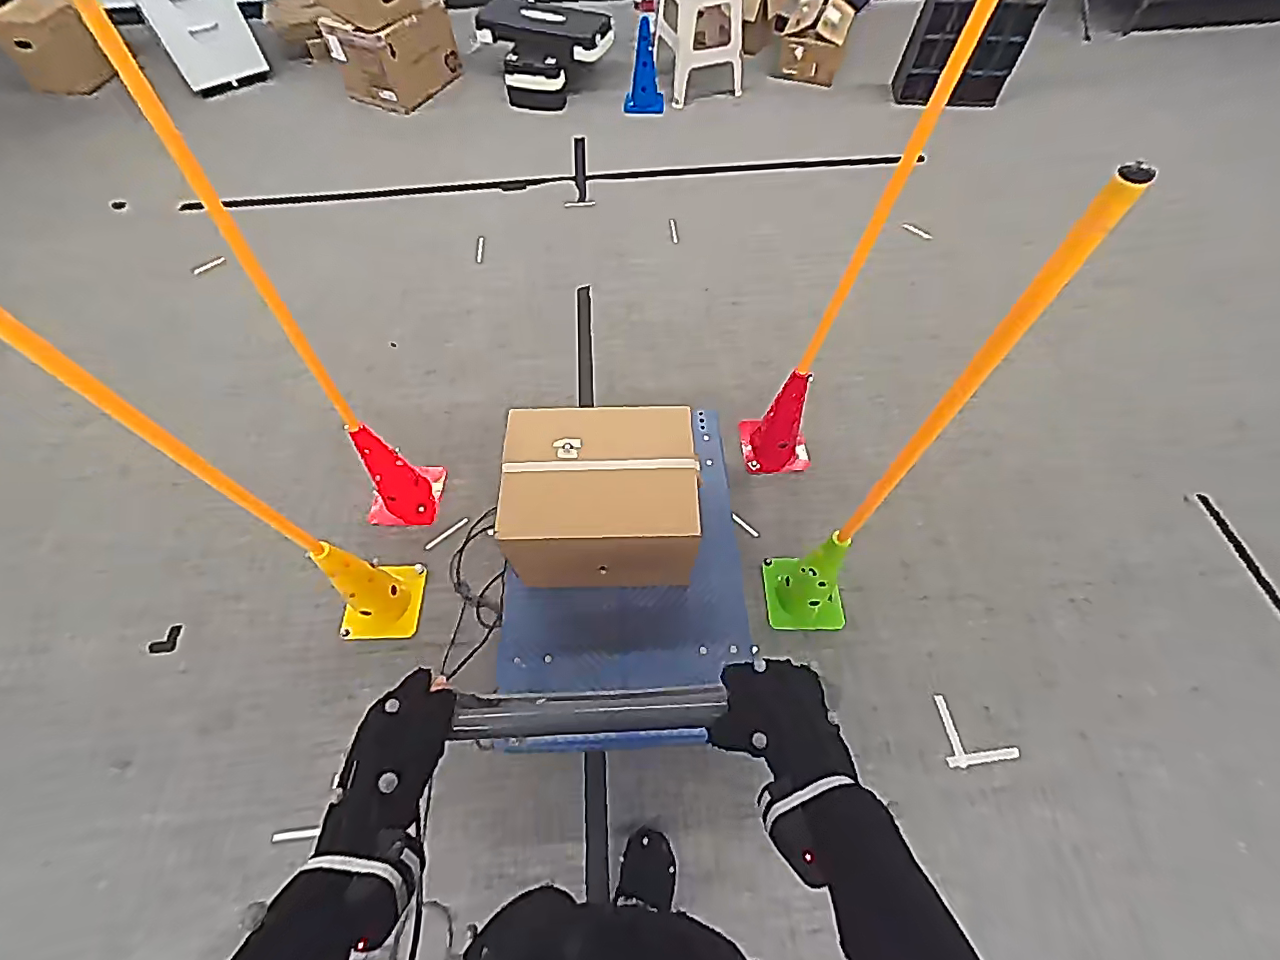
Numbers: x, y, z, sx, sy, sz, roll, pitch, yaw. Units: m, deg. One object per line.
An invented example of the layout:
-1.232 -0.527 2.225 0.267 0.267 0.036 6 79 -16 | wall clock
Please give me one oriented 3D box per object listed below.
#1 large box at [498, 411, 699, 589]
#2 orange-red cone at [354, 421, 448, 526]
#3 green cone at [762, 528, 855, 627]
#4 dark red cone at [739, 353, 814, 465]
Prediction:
-0.081 0.059 1.260 0.408 0.320 0.320 -1 61 1 | large box
-0.696 -0.043 1.496 0.198 0.360 0.199 3 58 1 | orange-red cone
0.442 0.216 1.326 0.202 0.368 0.200 0 60 -1 | green cone
0.424 -0.212 1.556 0.201 0.394 0.202 -3 60 -3 | dark red cone
